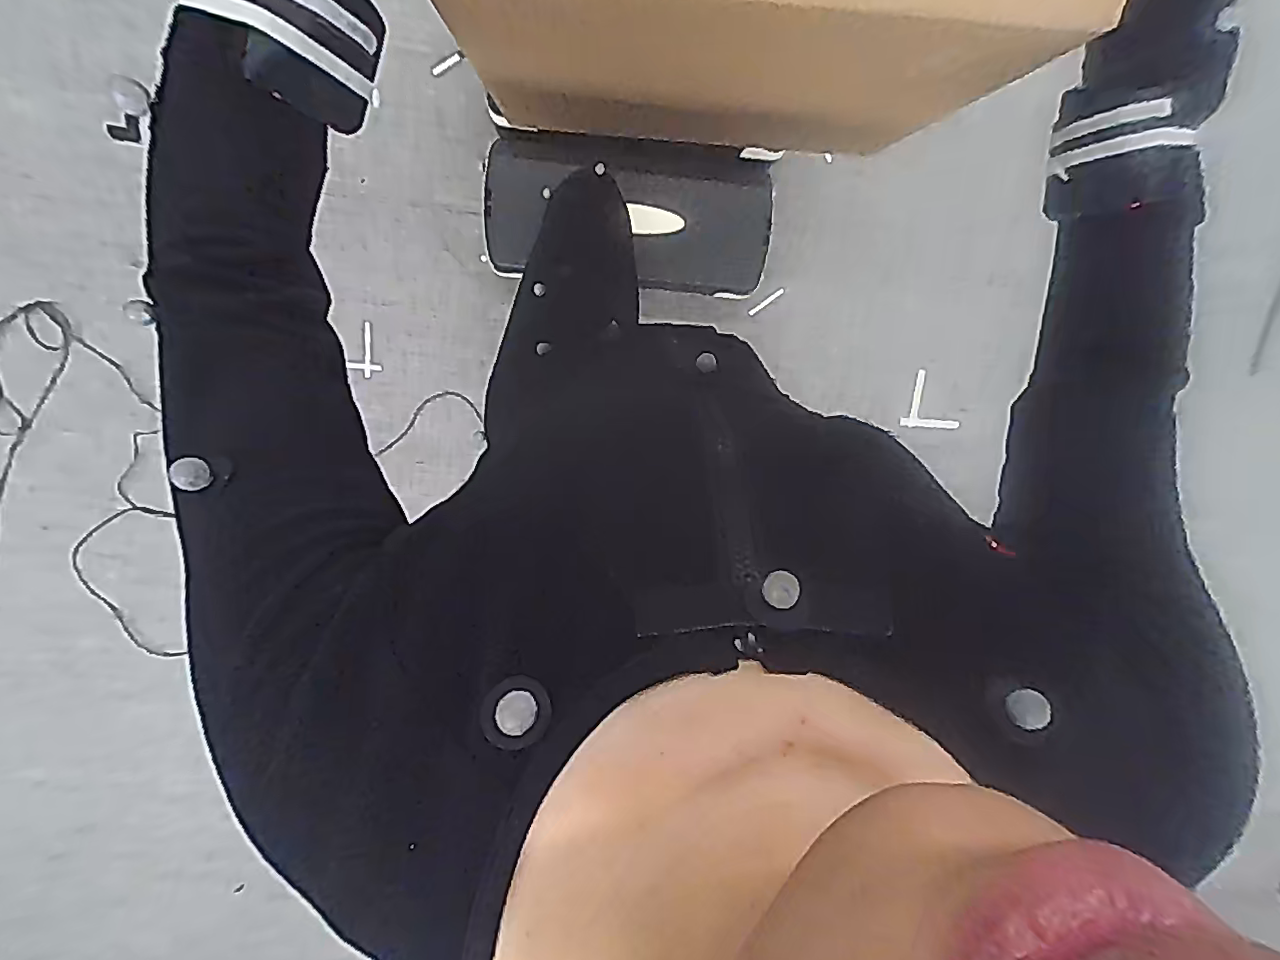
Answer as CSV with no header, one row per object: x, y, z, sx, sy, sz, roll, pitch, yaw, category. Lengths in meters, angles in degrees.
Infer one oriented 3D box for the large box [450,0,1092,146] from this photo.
0.071,-0.475,0.408,0.408,0.320,0.320,2,109,-4,large box
